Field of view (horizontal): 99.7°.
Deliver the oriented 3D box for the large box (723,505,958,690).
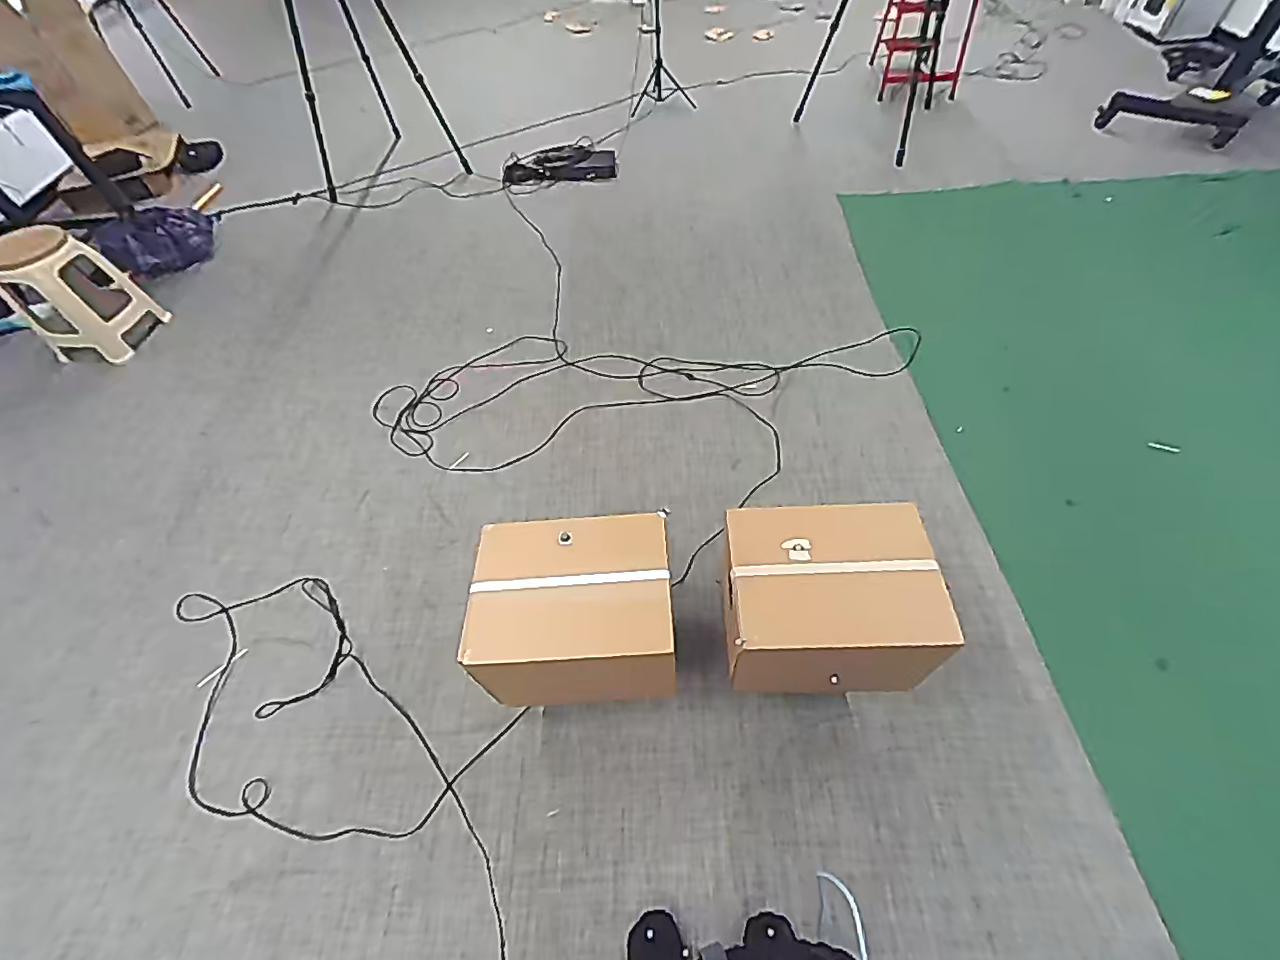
[{"bbox_3d":[0.405,0.274,1.214,0.408,0.320,0.320,-2,53,4],"label":"large box"}]
